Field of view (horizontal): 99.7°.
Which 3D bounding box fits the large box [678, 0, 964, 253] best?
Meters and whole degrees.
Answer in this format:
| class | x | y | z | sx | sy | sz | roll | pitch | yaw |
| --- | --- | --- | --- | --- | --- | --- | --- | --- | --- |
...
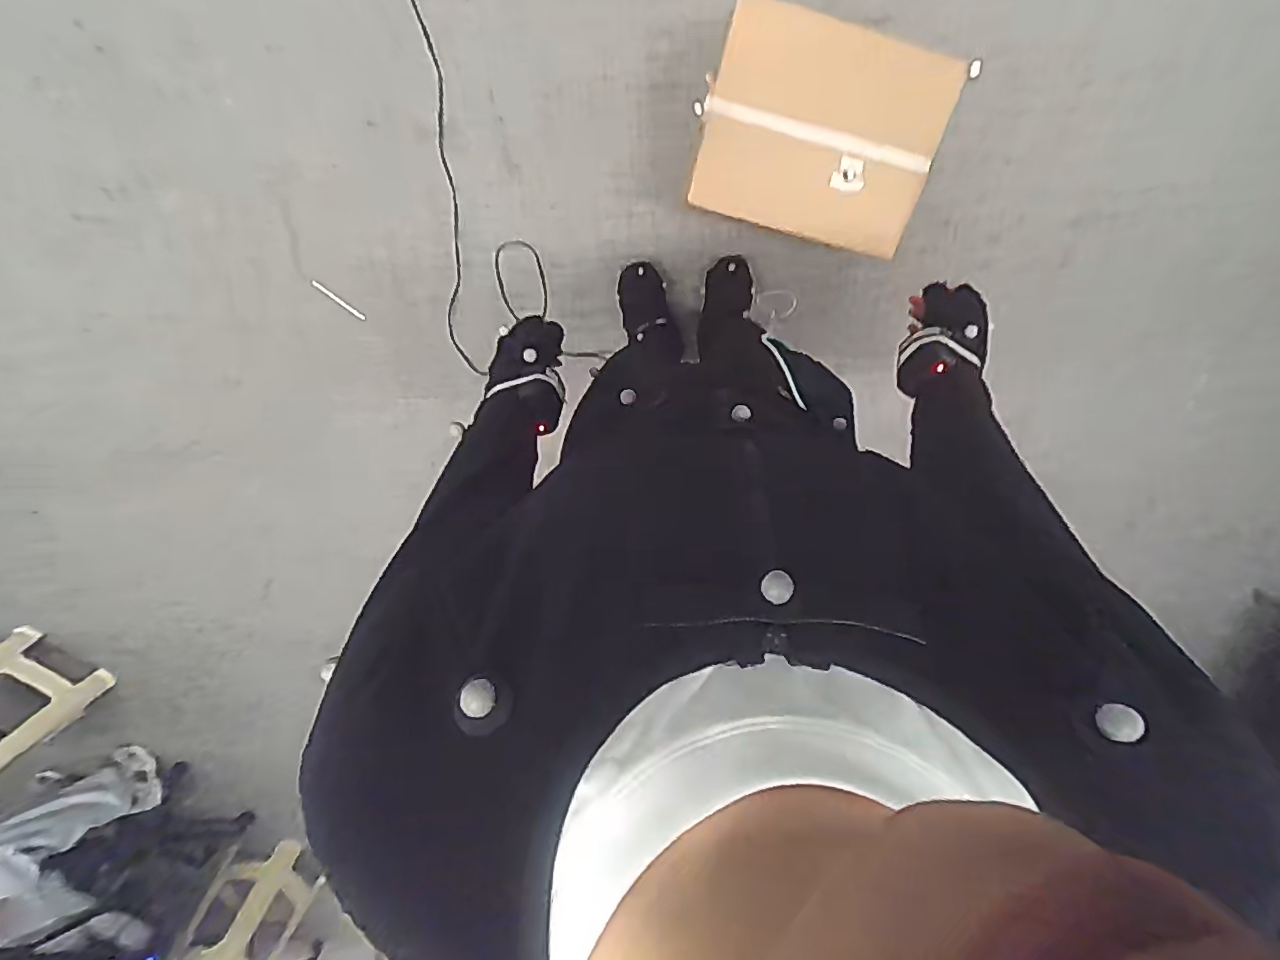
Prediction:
| class | x | y | z | sx | sy | sz | roll | pitch | yaw |
| --- | --- | --- | --- | --- | --- | --- | --- | --- | --- |
| large box | 0.311 | -0.664 | 1.073 | 0.408 | 0.320 | 0.320 | 12 | 116 | -6 |
